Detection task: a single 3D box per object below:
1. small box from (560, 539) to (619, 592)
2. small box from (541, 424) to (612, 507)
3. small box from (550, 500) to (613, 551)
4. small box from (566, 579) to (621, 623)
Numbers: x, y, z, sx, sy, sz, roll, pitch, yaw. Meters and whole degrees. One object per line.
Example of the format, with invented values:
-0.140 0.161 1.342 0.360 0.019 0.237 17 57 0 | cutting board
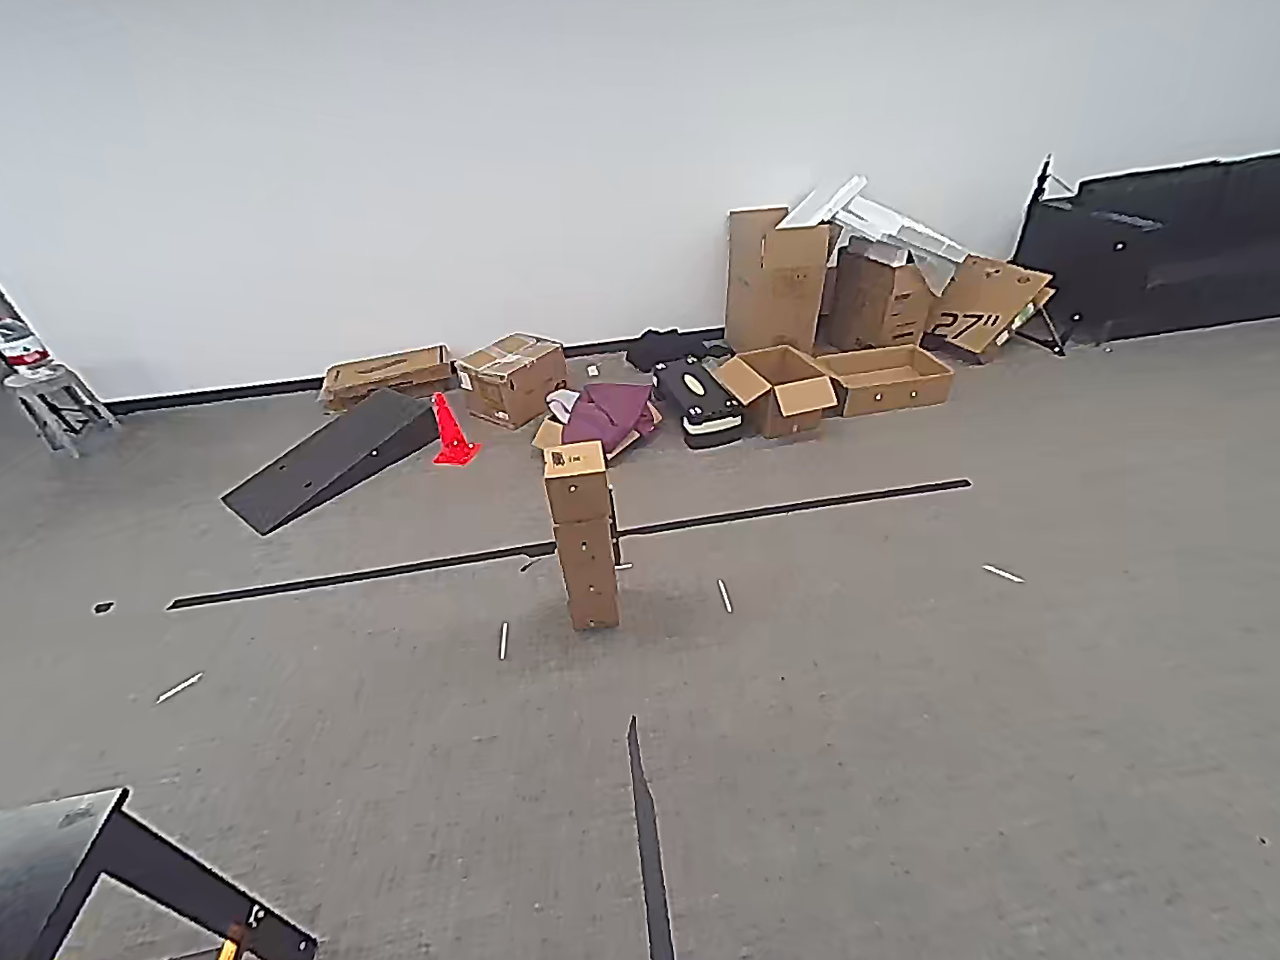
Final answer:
-0.163 0.230 1.732 0.168 0.176 0.179 -9 37 -3 | small box
-0.180 -0.038 1.543 0.179 0.176 0.168 -8 37 -5 | small box
-0.175 0.101 1.633 0.168 0.176 0.179 -8 37 -3 | small box
-0.161 0.358 1.837 0.168 0.176 0.179 -9 38 -4 | small box
